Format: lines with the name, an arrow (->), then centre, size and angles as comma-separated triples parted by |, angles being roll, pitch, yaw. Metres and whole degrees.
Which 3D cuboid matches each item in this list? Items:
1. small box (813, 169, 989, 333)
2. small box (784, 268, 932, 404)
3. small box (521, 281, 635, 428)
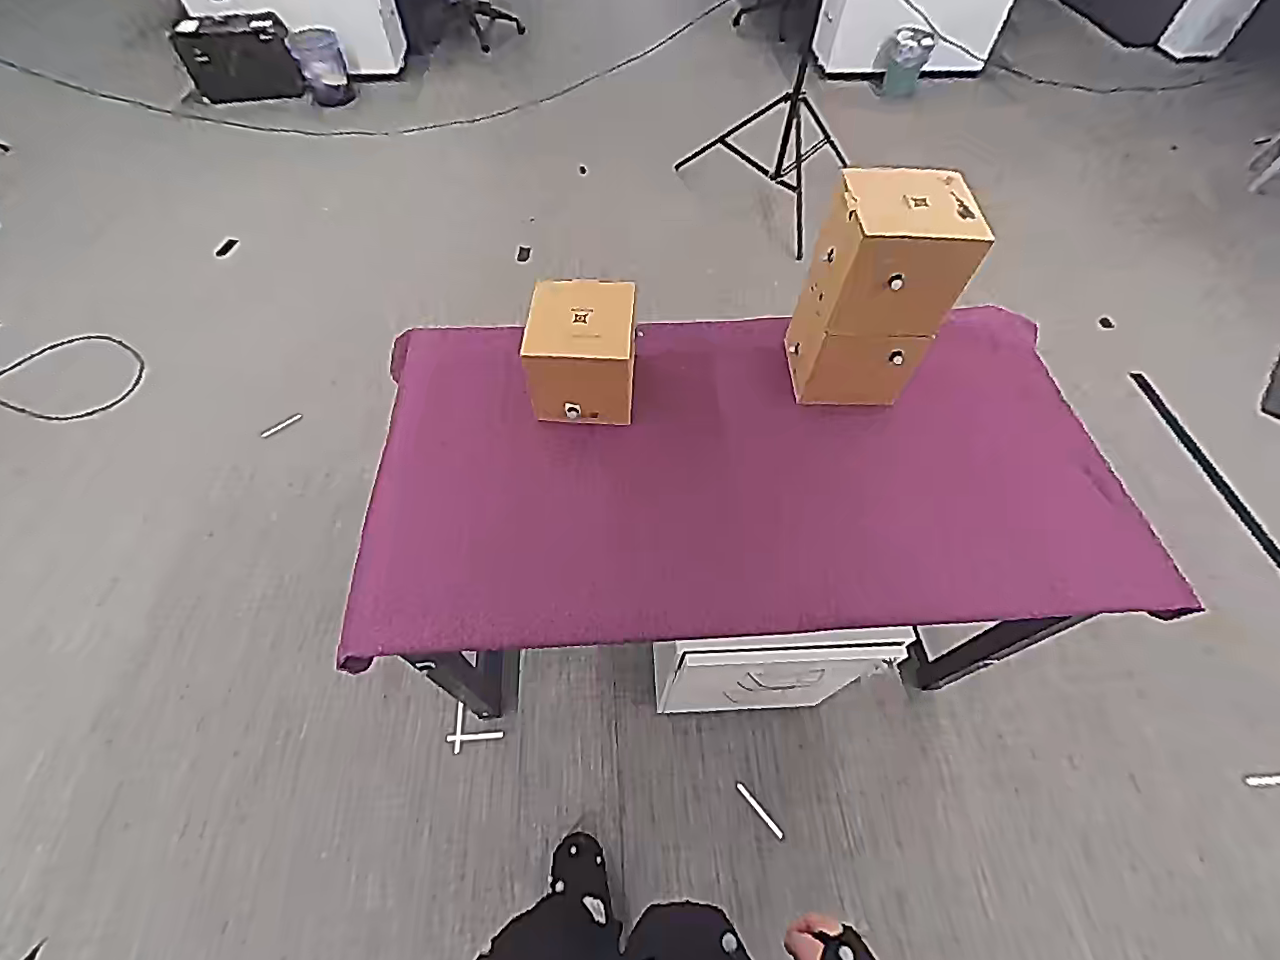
small box -> 0.370, -0.338, 0.811 | 0.179, 0.176, 0.168 | 1, 58, 0
small box -> 0.368, -0.248, 0.949 | 0.179, 0.176, 0.168 | 0, 57, -1
small box -> -0.094, -0.209, 0.915 | 0.168, 0.176, 0.179 | 1, 59, 1
